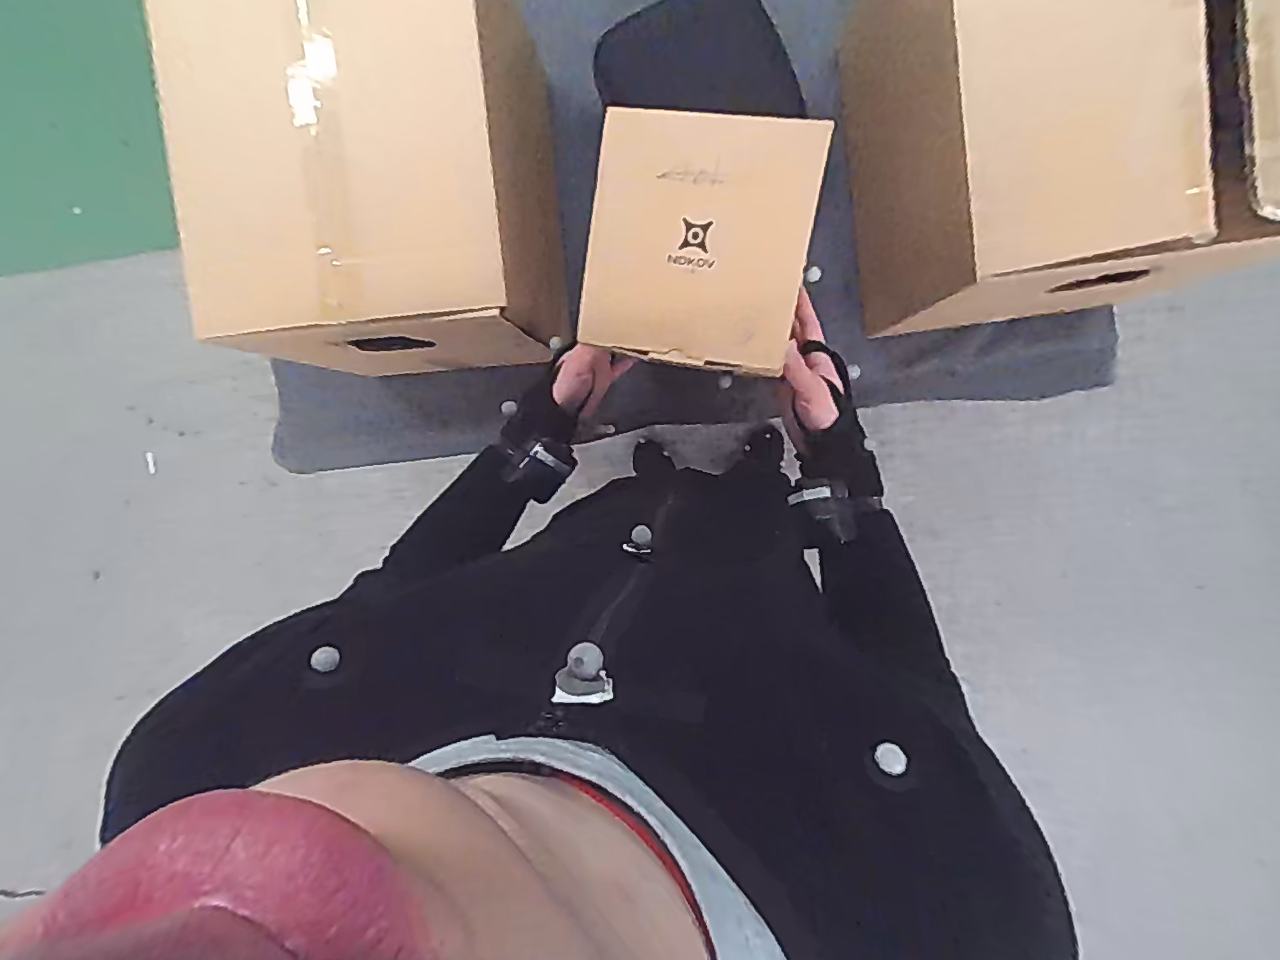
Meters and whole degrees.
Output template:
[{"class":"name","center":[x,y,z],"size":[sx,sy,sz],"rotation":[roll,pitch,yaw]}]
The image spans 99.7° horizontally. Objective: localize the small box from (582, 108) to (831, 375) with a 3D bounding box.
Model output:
[{"class":"small box","center":[0.060,-0.193,0.485],"size":[0.168,0.176,0.179],"rotation":[11,101,10]}]
